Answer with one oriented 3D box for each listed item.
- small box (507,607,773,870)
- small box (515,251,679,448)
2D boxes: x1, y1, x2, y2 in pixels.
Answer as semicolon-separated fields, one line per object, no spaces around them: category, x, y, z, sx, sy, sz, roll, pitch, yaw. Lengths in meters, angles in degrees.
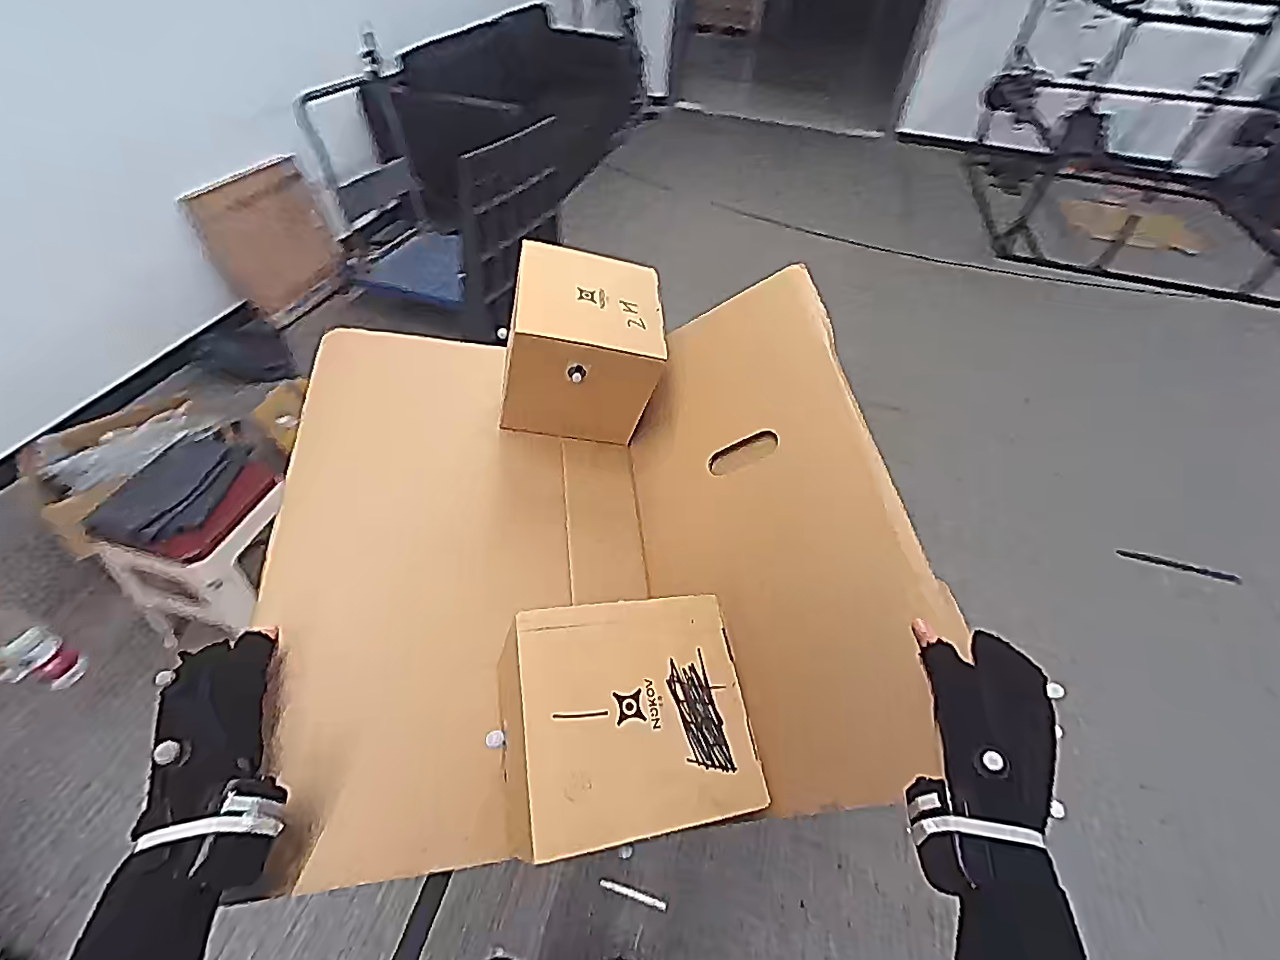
small box;-0.017;0.219;0.472;0.179;0.176;0.168;1;59;-19
small box;-0.063;-0.160;0.705;0.179;0.176;0.168;9;56;-16
